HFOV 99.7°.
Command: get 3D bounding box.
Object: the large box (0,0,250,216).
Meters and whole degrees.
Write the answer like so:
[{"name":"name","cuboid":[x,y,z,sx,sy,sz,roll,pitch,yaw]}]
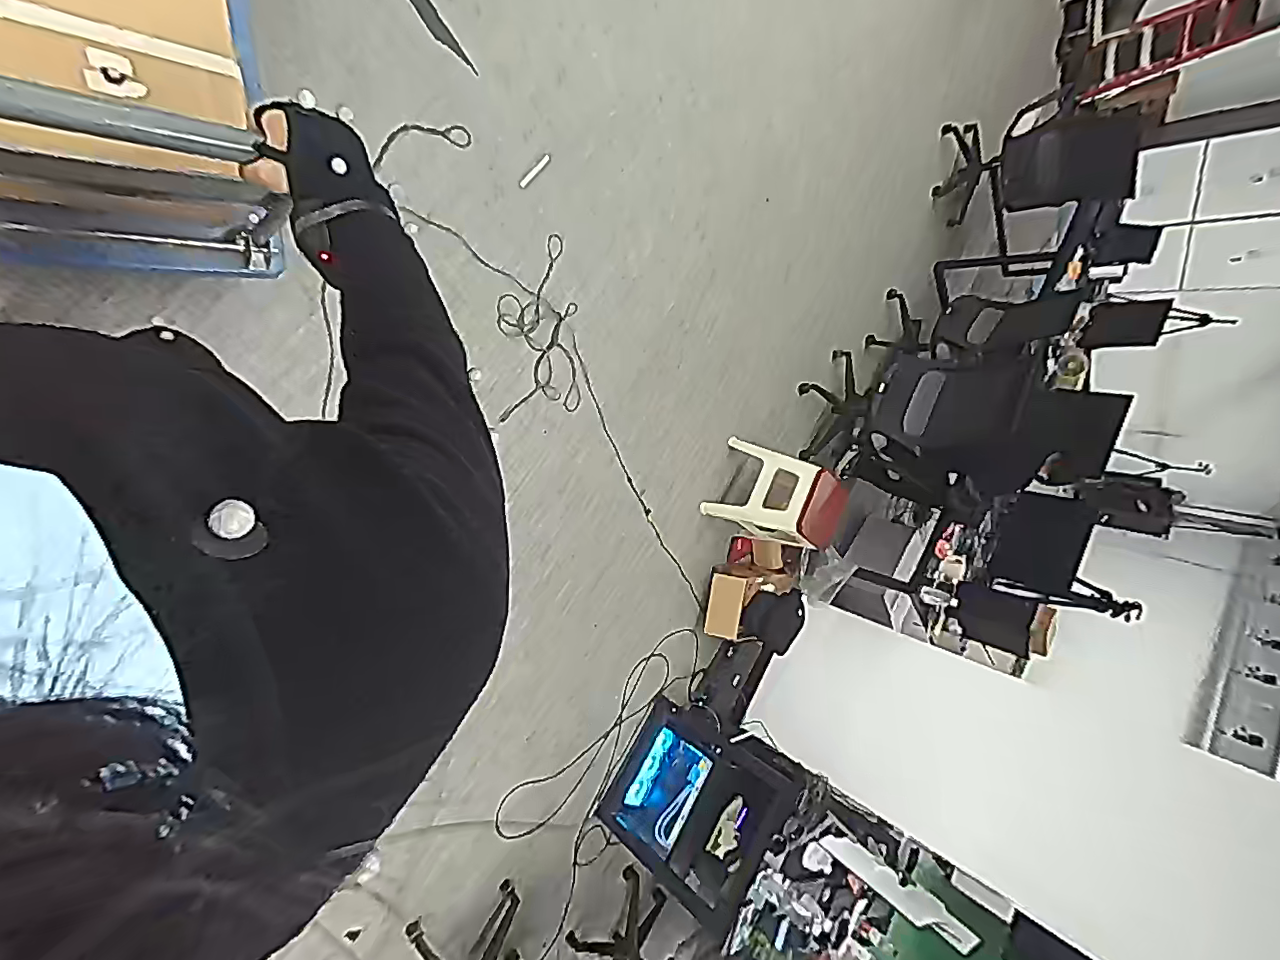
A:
[{"name":"large box","cuboid":[-0.826,-0.575,0.734,0.408,0.320,0.320,-13,110,-43]}]
